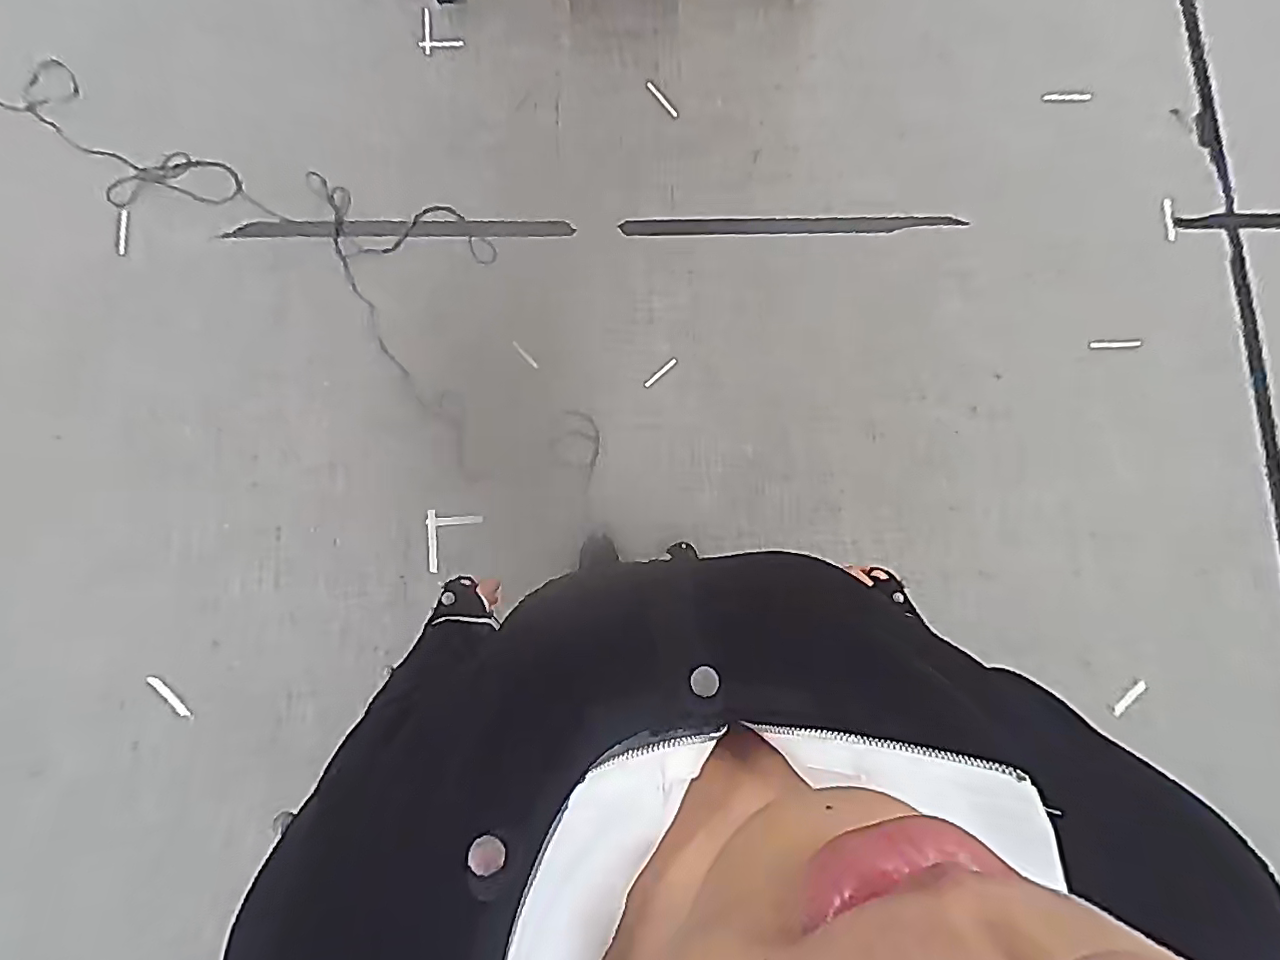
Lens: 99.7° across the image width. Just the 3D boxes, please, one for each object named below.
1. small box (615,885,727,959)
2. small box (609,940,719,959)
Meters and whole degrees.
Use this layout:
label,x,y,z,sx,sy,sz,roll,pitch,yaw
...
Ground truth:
label,x,y,z,sx,sy,sz,roll,pitch,yaw
small box,0.043,0.786,0.867,0.168,0.176,0.179,1,81,-2
small box,0.039,0.755,0.706,0.168,0.176,0.179,1,81,-4
